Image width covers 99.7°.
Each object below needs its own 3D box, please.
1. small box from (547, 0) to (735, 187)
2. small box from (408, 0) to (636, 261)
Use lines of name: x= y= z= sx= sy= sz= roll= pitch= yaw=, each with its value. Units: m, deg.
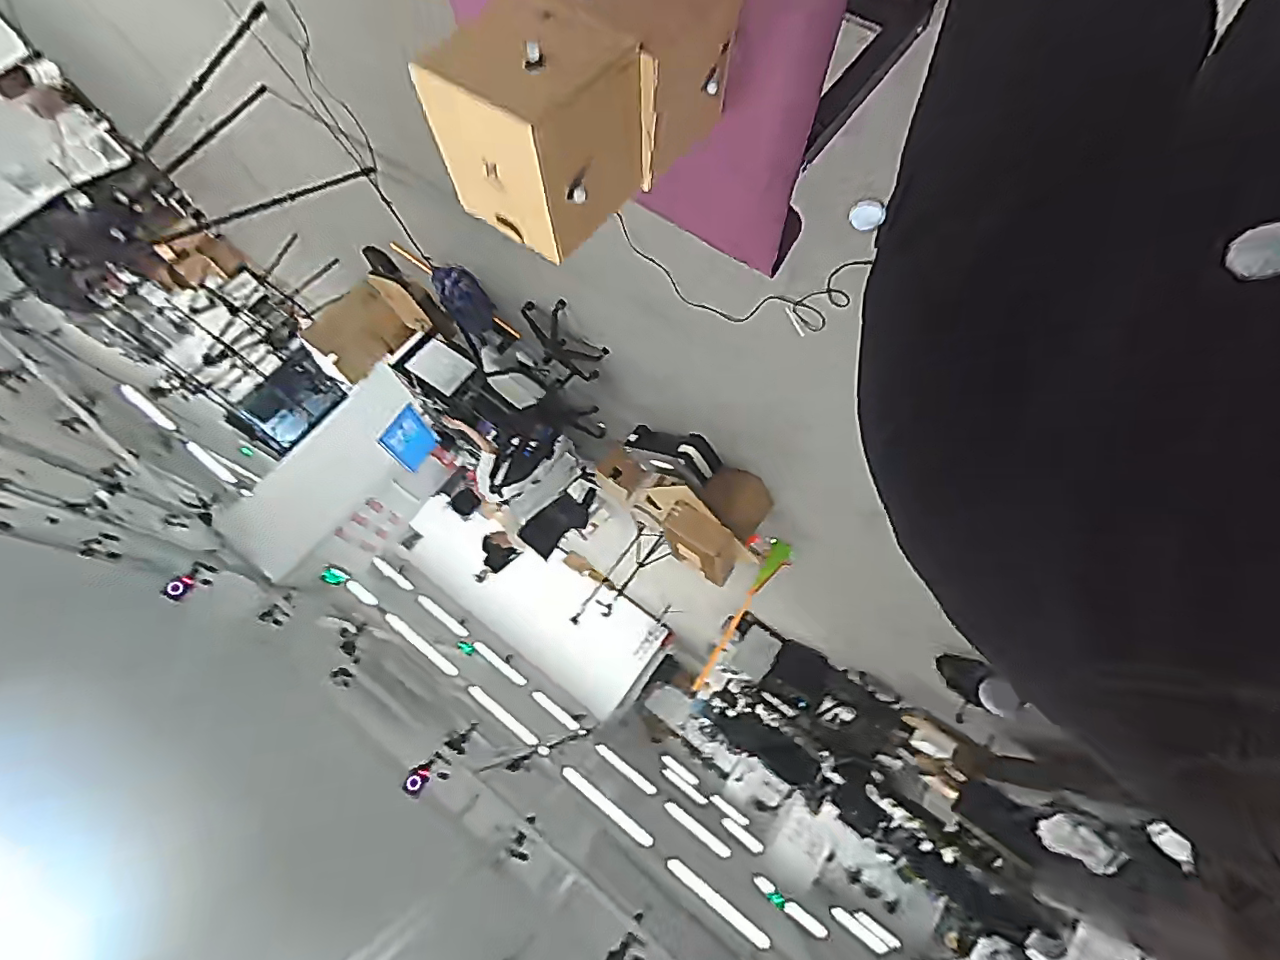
small box: x=-0.012 y=-0.515 z=0.664 sx=0.179 sy=0.176 sz=0.168 roll=35 pitch=163 yaw=9
small box: x=-0.116 y=-0.399 z=0.614 sx=0.168 sy=0.176 sz=0.179 roll=34 pitch=163 yaw=13
